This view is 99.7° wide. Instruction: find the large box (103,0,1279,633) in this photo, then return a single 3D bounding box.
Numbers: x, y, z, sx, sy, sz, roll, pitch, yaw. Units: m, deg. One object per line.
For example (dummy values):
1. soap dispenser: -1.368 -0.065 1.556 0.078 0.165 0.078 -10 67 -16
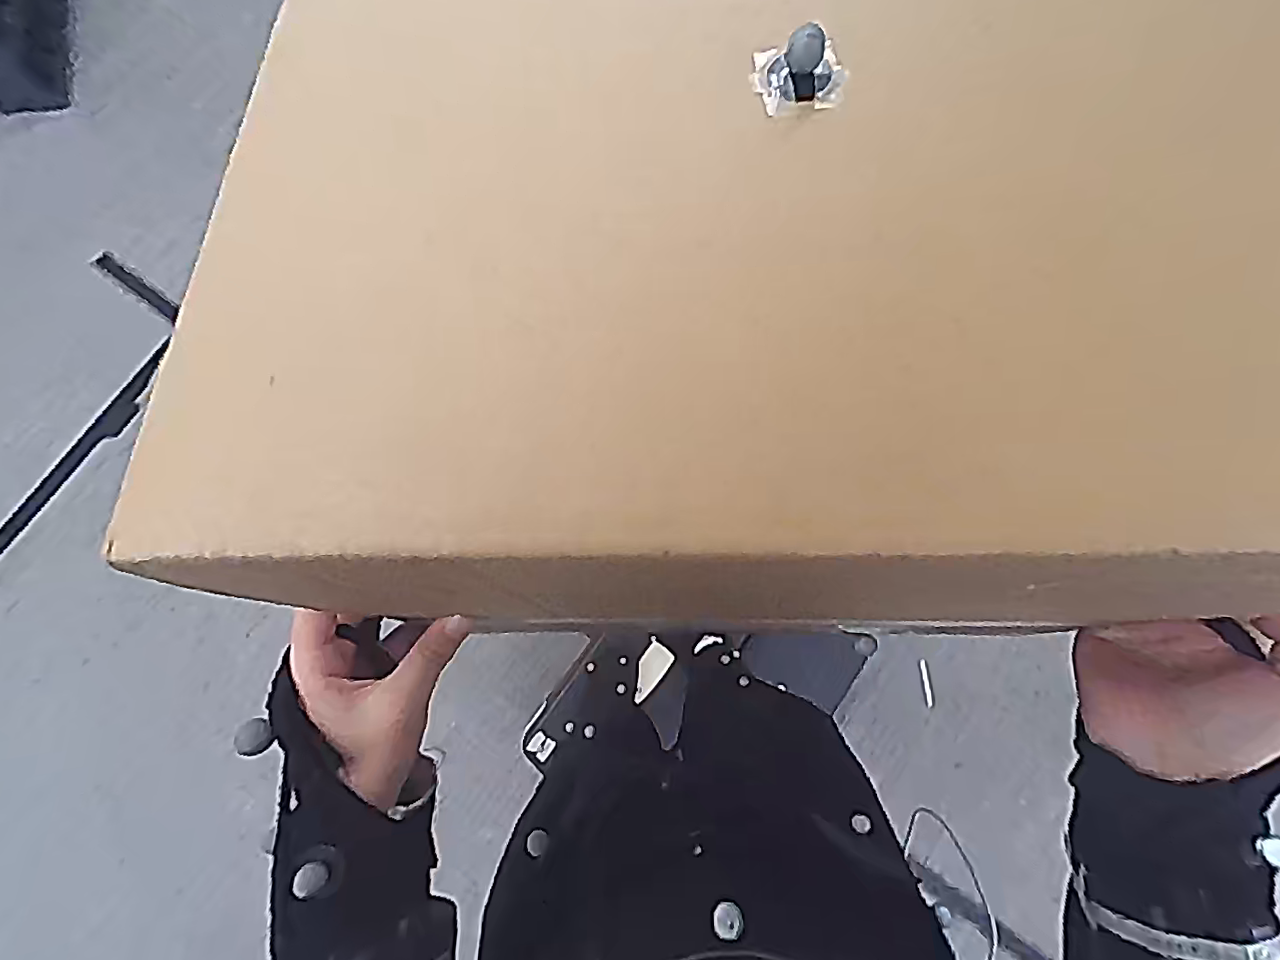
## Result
1. large box: 0.050 -0.078 0.324 0.408 0.320 0.320 -2 73 4
